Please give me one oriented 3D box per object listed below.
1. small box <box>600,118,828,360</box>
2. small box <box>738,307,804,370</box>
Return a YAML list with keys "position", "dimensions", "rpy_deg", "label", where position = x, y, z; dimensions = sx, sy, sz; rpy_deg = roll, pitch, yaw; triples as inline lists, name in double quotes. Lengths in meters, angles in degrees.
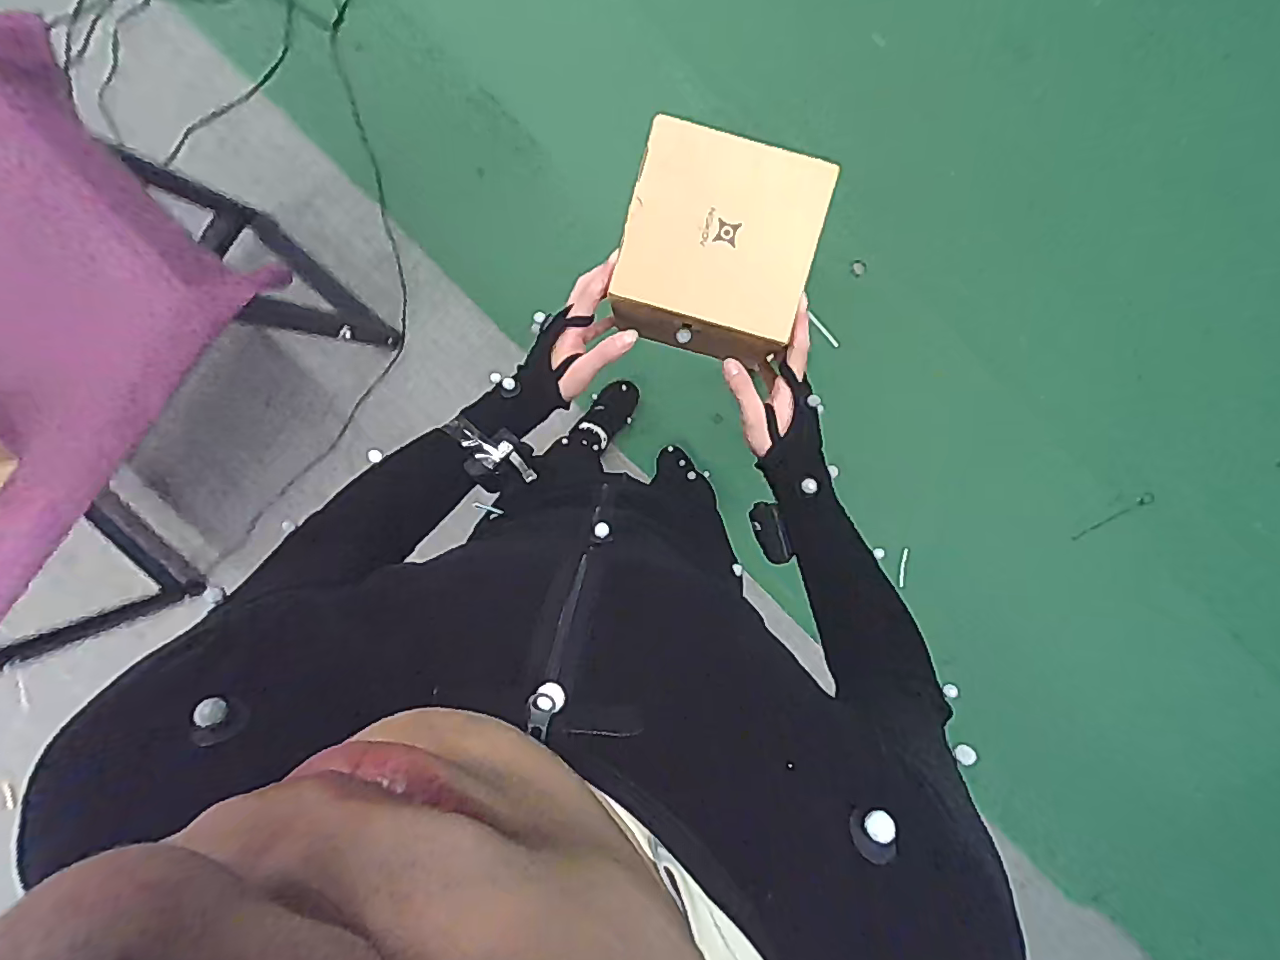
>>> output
- position: [0.068, -0.233, 0.572]
  dimensions: [0.179, 0.176, 0.168]
  rpy_deg: [14, 94, 1]
  label: "small box"
- position: [0.309, -0.413, 1.456]
  dimensions: [0.179, 0.176, 0.168]
  rpy_deg: [41, 99, -1]
  label: "small box"
